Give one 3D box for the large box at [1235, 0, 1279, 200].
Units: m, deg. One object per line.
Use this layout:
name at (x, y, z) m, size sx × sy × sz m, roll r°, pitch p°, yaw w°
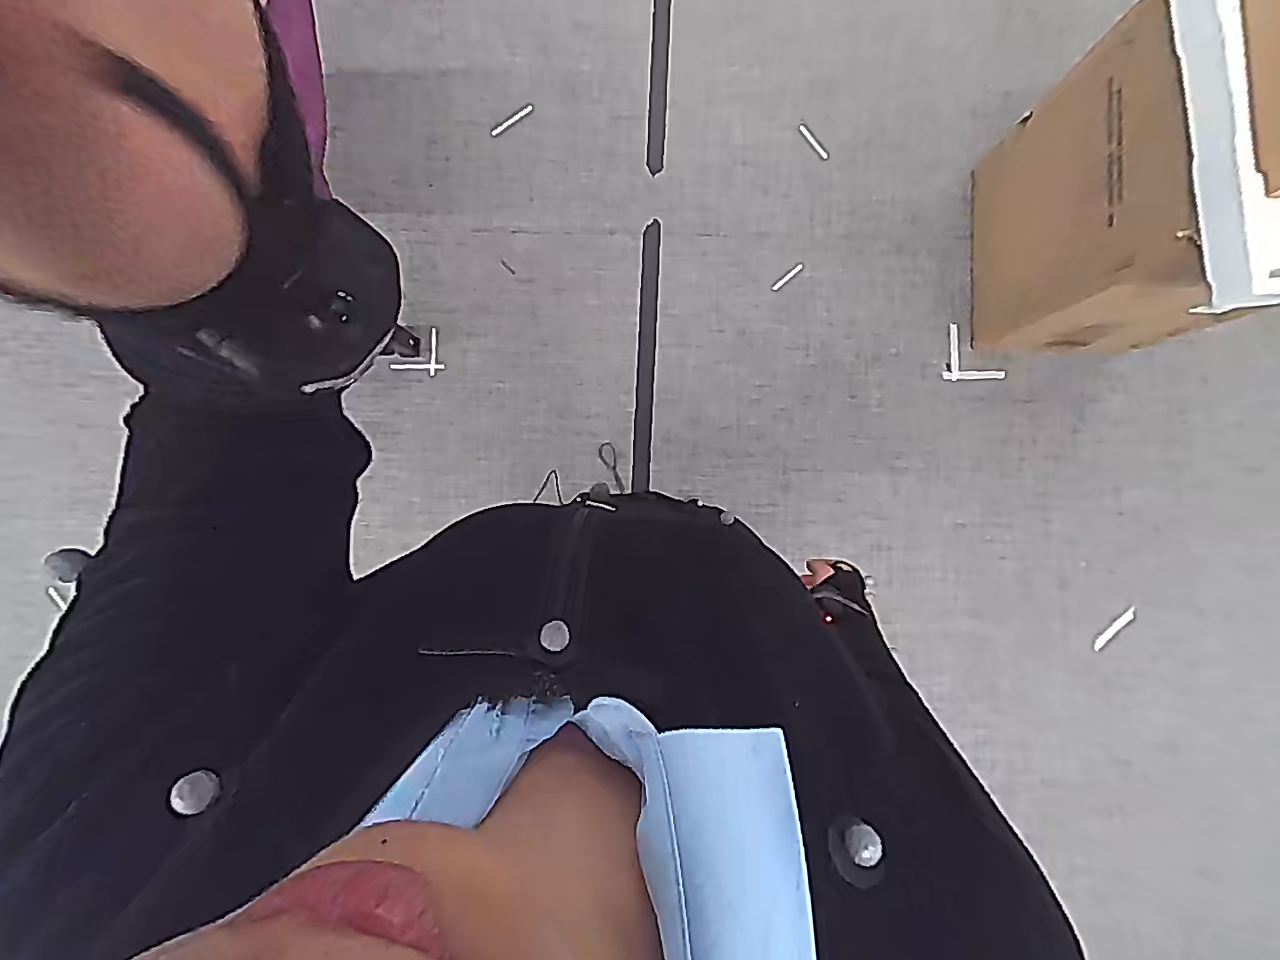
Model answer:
large box at (1.116, -0.653, 0.713) m, size 0.320 × 0.320 × 0.408 m, roll -3°, pitch 86°, yaw 0°
